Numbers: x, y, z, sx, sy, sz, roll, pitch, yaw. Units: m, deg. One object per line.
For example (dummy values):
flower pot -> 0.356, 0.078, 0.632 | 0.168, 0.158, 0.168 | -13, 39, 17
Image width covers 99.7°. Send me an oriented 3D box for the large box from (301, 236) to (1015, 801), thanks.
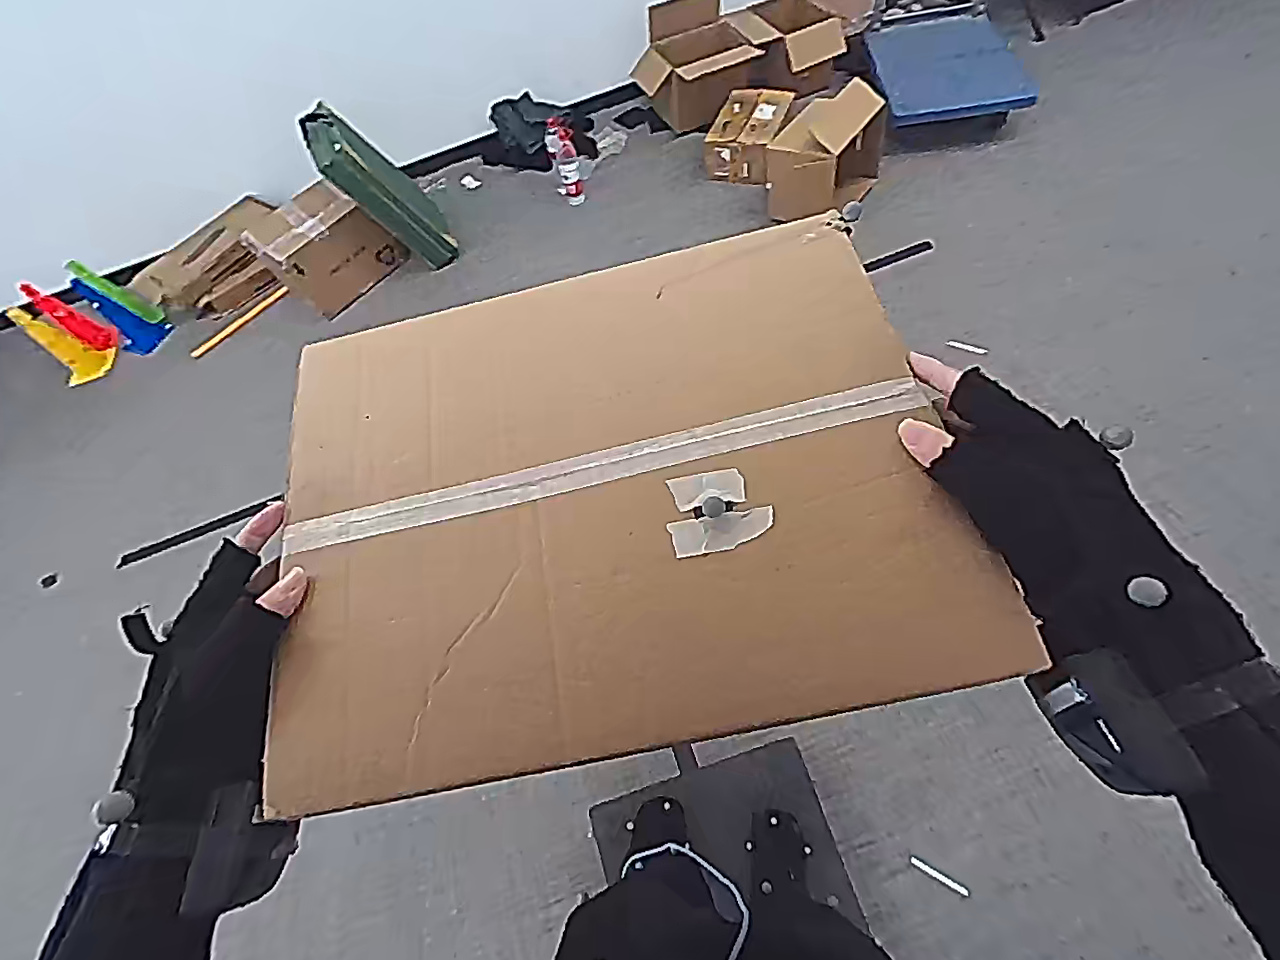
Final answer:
large box -> -0.004, 0.056, 0.485 | 0.408, 0.320, 0.320 | -12, 67, 3
